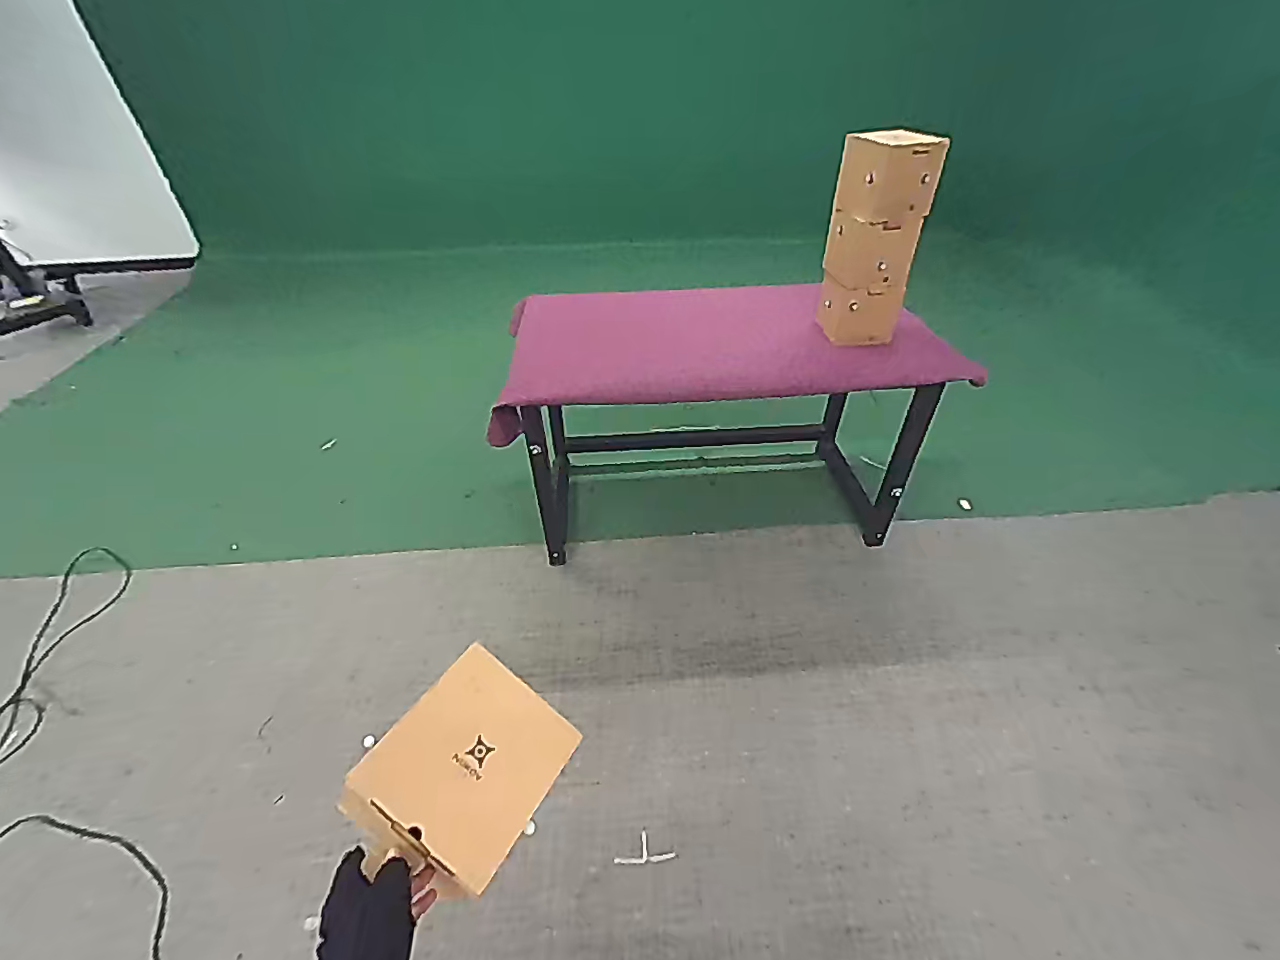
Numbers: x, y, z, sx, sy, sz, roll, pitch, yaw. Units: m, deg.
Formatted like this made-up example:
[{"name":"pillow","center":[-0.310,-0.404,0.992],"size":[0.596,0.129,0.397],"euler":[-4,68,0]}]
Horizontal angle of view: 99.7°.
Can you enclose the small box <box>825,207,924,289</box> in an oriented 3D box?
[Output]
[{"name":"small box","center":[0.616,-0.627,1.448],"size":[0.168,0.176,0.179],"euler":[-6,41,-4]}]

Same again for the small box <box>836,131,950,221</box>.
[{"name":"small box","center":[0.618,-0.751,1.342],"size":[0.168,0.176,0.179],"euler":[-12,42,-13]}]

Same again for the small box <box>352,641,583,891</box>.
[{"name":"small box","center":[-0.201,0.324,0.618],"size":[0.168,0.176,0.179],"euler":[41,47,1]}]
